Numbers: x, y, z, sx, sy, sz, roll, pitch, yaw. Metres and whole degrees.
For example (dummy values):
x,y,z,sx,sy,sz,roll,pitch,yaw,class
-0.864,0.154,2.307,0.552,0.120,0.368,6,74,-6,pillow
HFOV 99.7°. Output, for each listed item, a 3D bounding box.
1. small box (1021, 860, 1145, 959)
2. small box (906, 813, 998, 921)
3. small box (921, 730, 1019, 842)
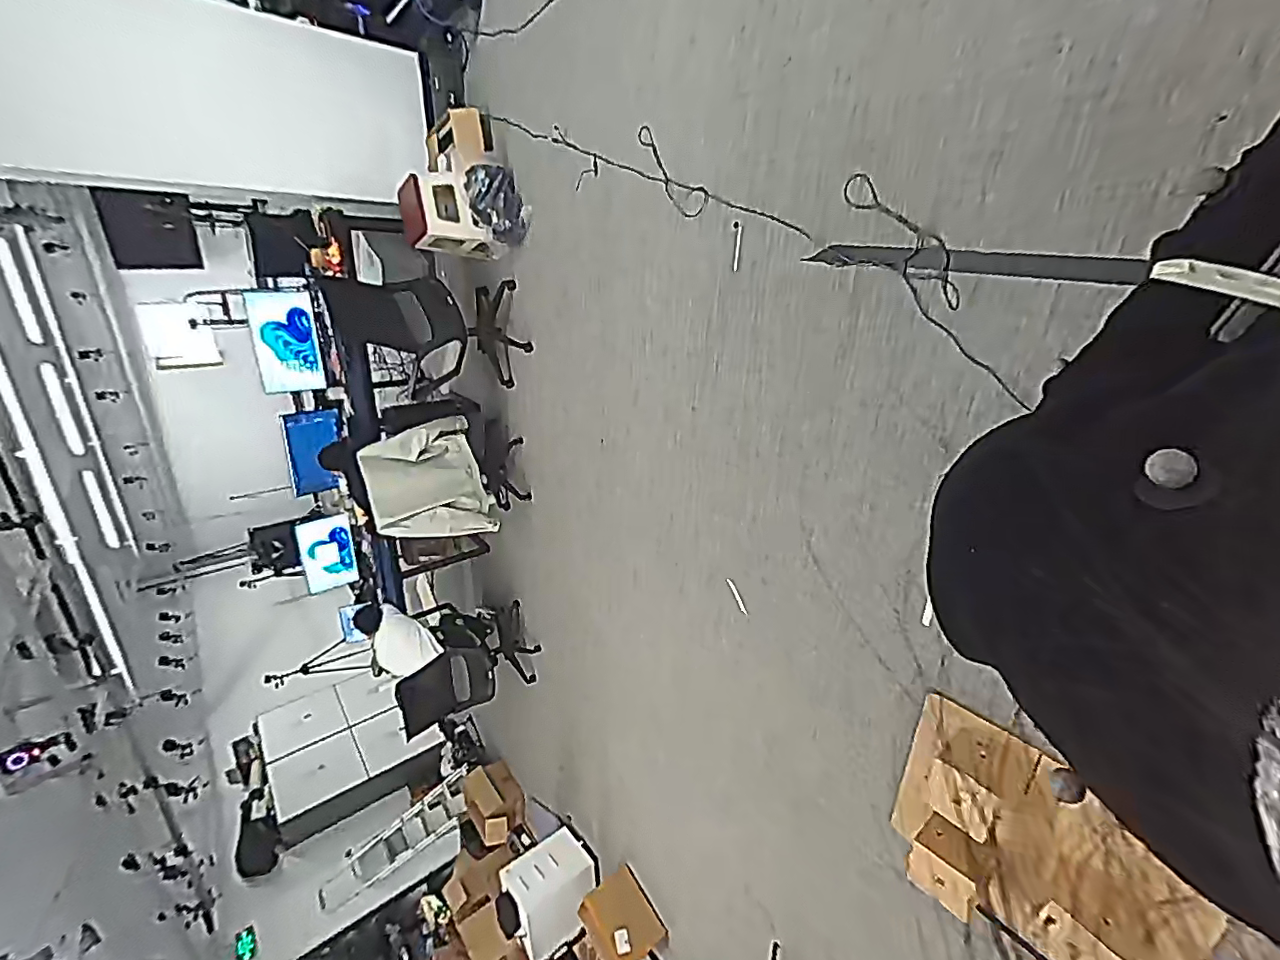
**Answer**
x,y,z,sx,sy,sz,roll,pitch,yaw,class
1.116,1.120,1.361,0.179,0.176,0.168,35,128,39,small box
0.930,1.139,1.615,0.179,0.176,0.168,21,120,48,small box
0.924,0.847,1.513,0.168,0.176,0.179,26,121,44,small box
